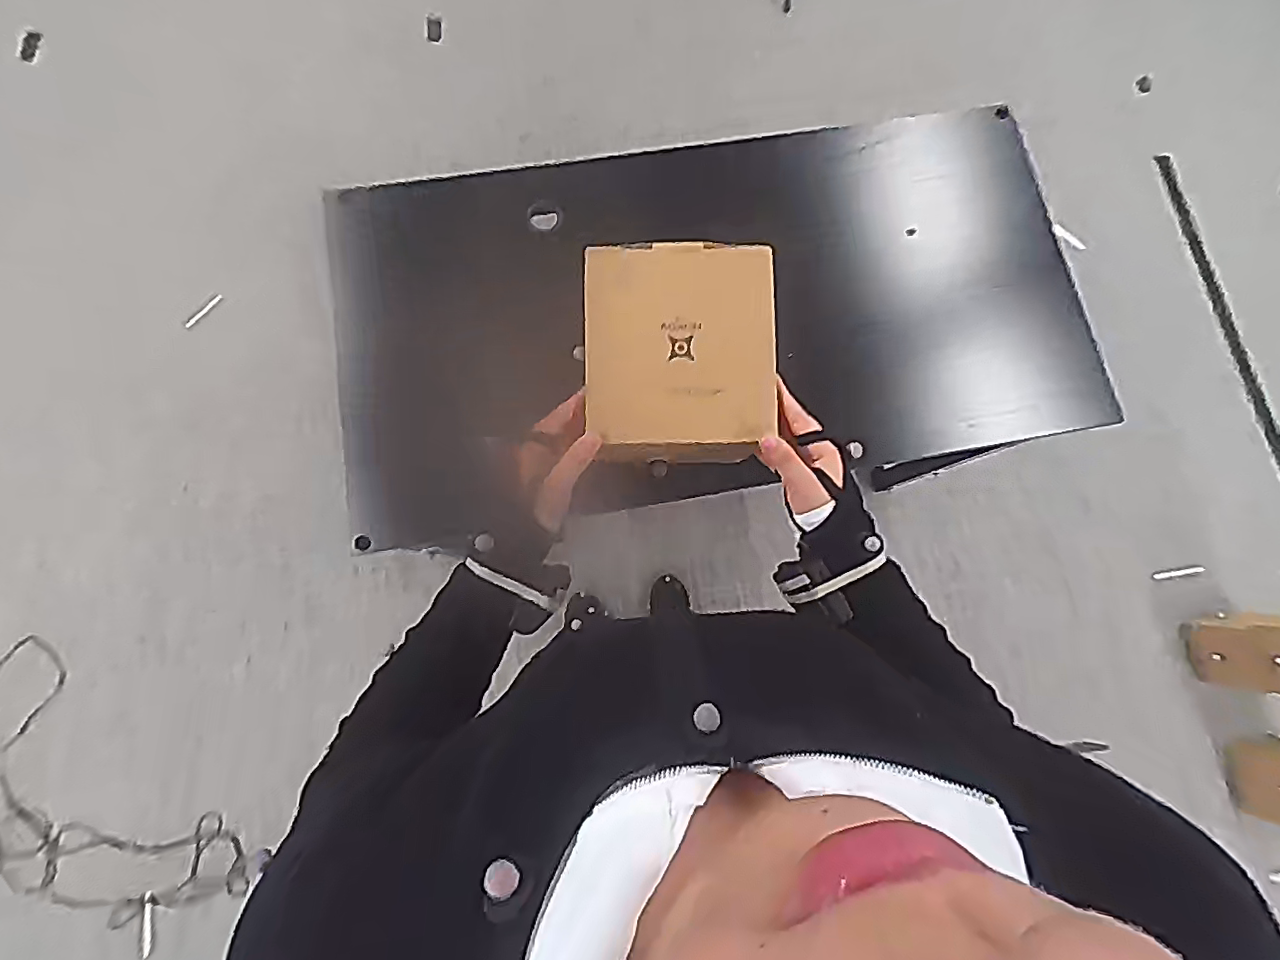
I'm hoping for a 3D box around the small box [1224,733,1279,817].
[{"bbox_3d":[1.685,0.769,1.396,0.168,0.176,0.179,-7,81,-3],"label":"small box"}]

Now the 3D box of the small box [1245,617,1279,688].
[{"bbox_3d":[1.635,0.414,1.290,0.179,0.176,0.168,-5,79,-3],"label":"small box"}]

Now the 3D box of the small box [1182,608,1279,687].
[{"bbox_3d":[1.626,0.444,1.453,0.179,0.176,0.168,-10,80,-3],"label":"small box"}]

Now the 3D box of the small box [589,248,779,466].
[{"bbox_3d":[0.036,-0.110,0.547,0.168,0.176,0.179,0,86,-1],"label":"small box"}]
